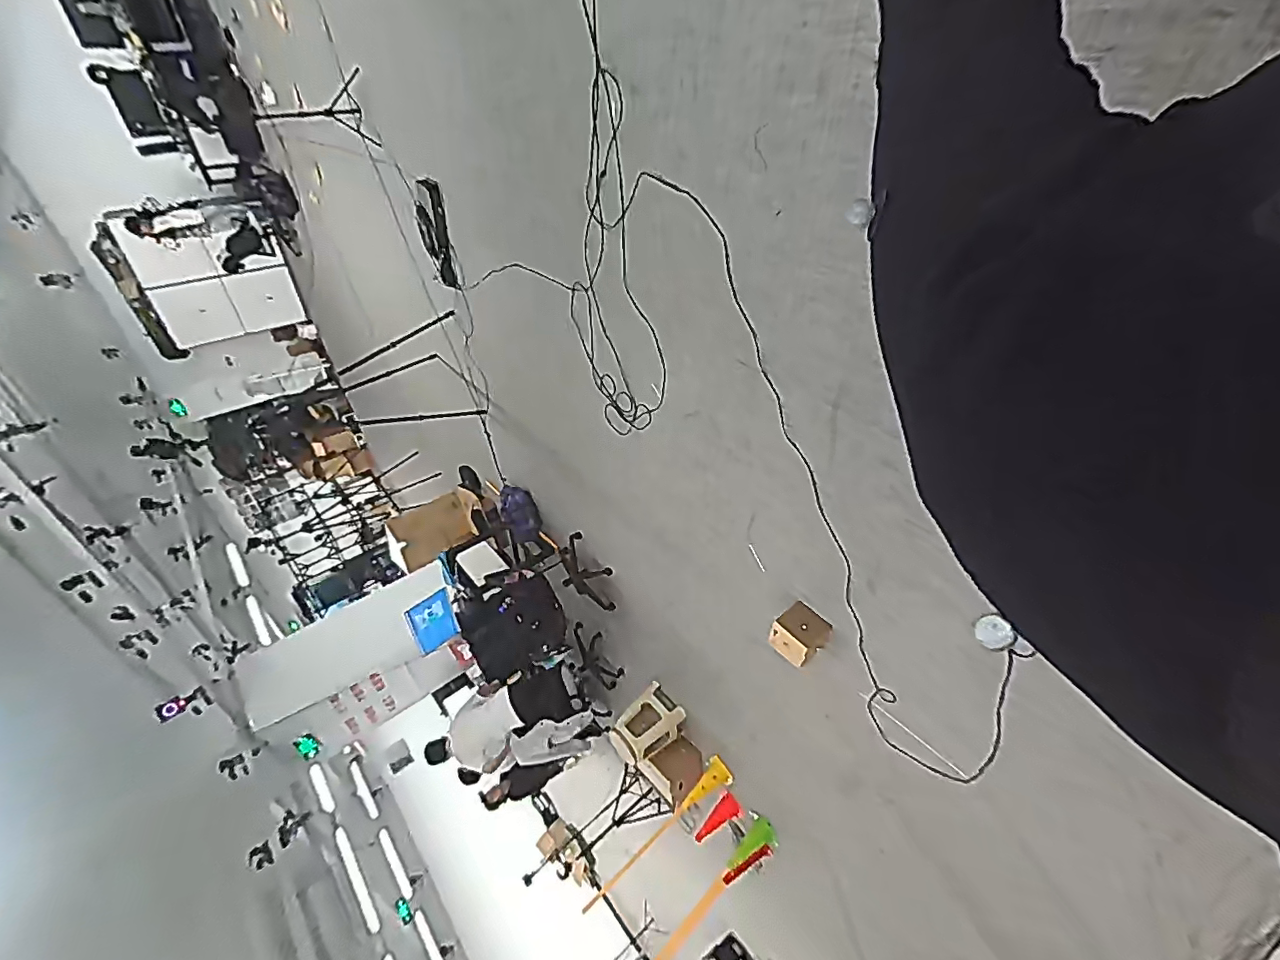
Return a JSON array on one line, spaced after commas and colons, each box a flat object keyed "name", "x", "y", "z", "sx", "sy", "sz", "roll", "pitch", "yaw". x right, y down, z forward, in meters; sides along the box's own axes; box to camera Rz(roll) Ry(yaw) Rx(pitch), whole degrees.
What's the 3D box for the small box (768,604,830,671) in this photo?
[{"name": "small box", "x": 0.676, "y": 0.664, "z": 2.296, "sx": 0.179, "sy": 0.176, "sz": 0.168, "roll": 38, "pitch": 142, "yaw": 34}]
